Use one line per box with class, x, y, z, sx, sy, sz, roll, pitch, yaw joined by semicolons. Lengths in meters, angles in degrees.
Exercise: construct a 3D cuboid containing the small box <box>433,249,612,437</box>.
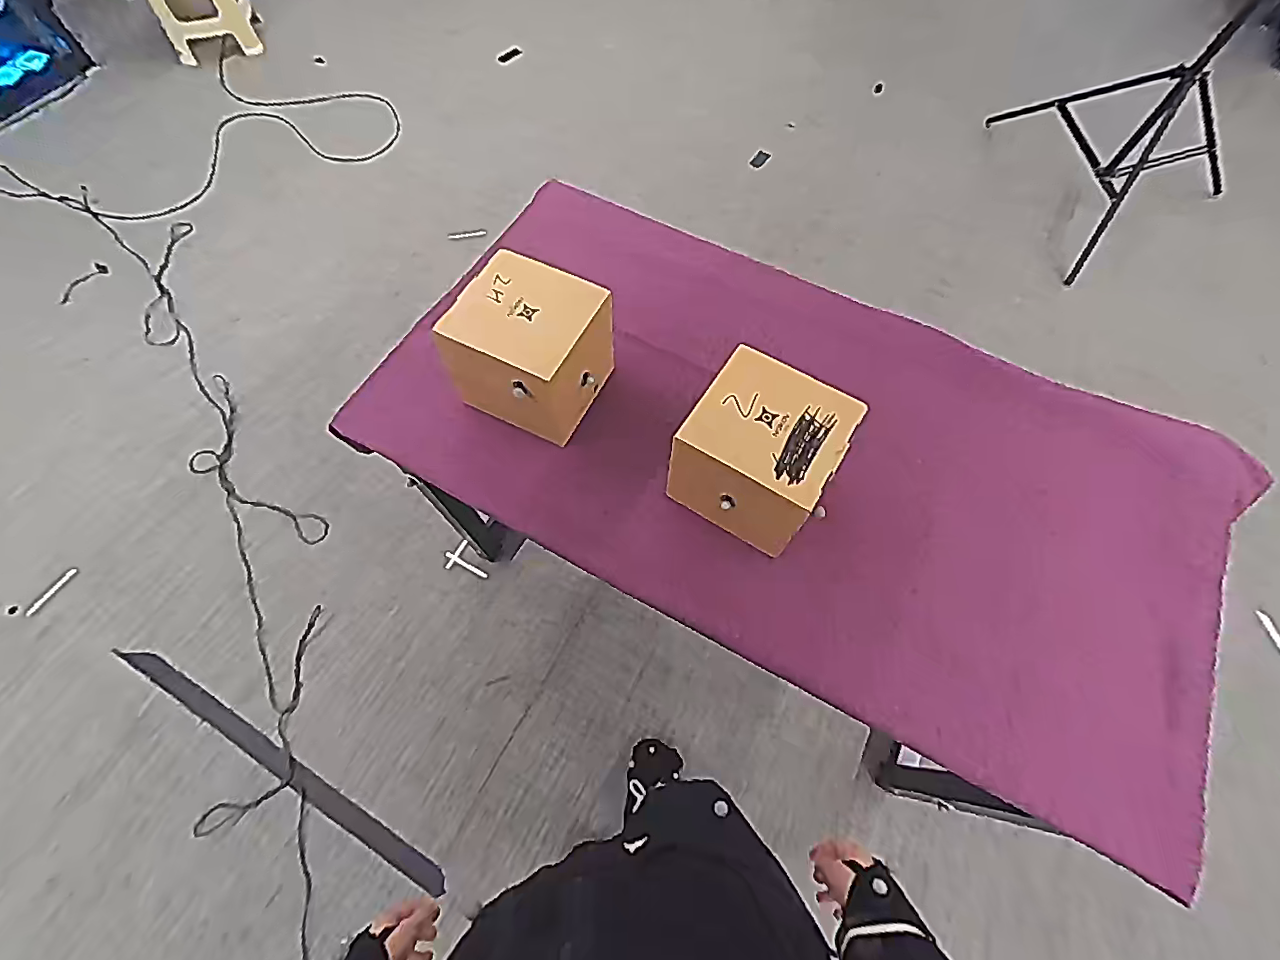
small box;-0.150;-0.184;0.768;0.179;0.176;0.168;24;66;10
